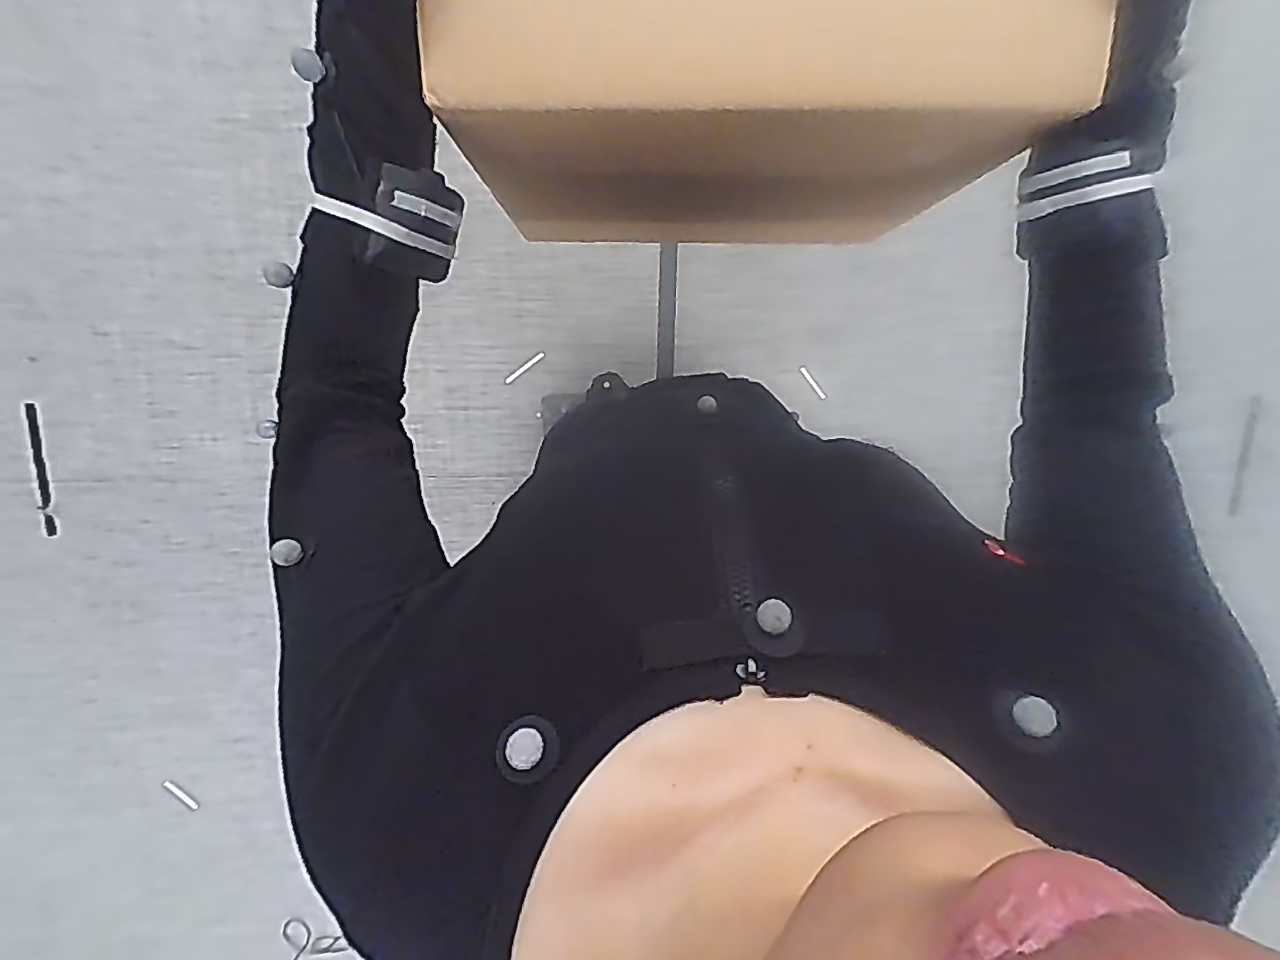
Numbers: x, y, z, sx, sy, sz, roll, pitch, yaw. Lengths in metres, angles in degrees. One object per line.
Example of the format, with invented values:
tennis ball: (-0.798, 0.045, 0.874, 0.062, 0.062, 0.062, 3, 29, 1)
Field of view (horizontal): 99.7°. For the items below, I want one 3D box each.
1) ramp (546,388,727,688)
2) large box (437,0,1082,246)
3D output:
ramp: (-0.004, 0.221, 1.626, 0.509, 0.206, 0.991, -3, 101, -2)
large box: (0.068, -0.405, 0.463, 0.408, 0.320, 0.320, -1, 100, -1)
